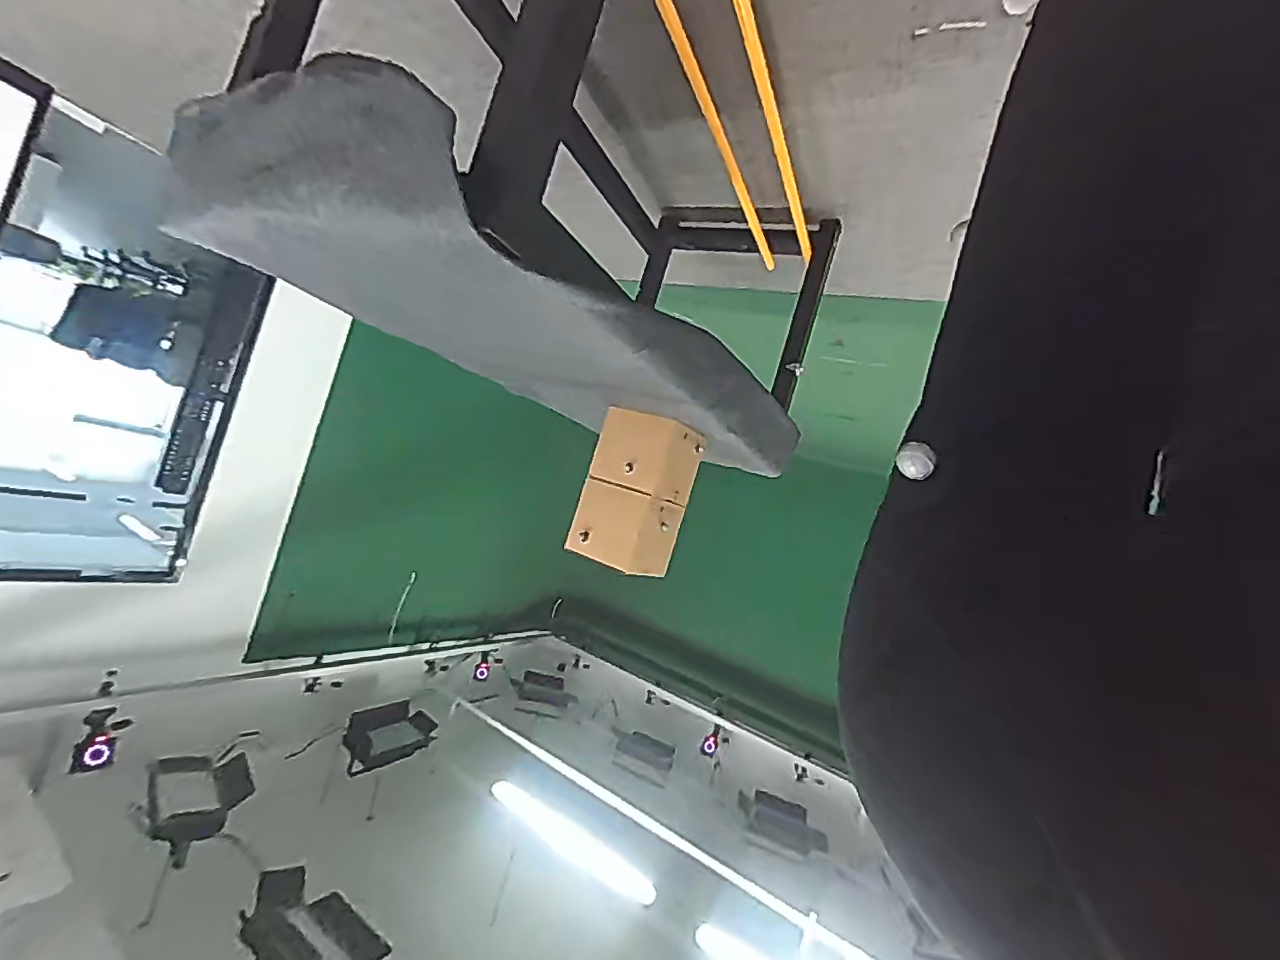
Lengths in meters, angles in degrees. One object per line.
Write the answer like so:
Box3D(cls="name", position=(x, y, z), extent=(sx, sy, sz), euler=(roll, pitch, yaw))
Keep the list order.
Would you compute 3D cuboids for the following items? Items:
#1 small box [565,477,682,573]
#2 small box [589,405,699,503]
Box3D(cls="small box", position=(-0.033, 0.097, 1.206), extent=(0.179, 0.176, 0.168), euler=(16, 178, 34))
Box3D(cls="small box", position=(0.018, -0.059, 1.212), extent=(0.179, 0.176, 0.168), euler=(17, 178, 31))
